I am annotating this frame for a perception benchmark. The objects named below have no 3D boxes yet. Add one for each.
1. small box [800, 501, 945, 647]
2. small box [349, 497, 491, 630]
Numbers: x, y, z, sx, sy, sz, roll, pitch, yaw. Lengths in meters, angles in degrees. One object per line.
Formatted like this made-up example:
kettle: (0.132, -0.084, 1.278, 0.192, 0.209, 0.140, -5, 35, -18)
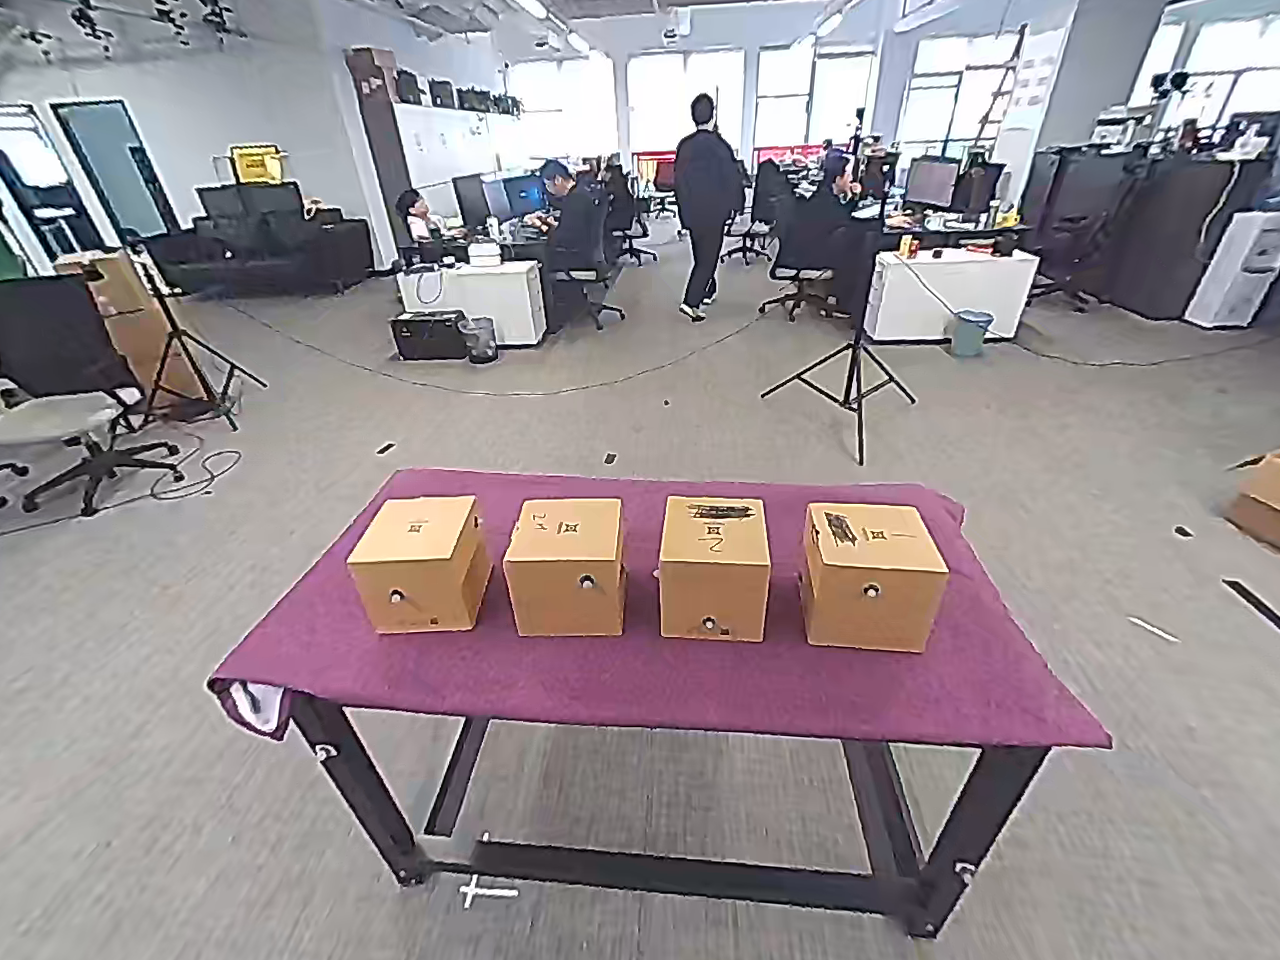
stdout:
small box: (0.362, 0.151, 0.882, 0.179, 0.176, 0.168, 3, 32, 8)
small box: (-0.372, 0.150, 0.954, 0.168, 0.176, 0.179, -3, 32, 0)
